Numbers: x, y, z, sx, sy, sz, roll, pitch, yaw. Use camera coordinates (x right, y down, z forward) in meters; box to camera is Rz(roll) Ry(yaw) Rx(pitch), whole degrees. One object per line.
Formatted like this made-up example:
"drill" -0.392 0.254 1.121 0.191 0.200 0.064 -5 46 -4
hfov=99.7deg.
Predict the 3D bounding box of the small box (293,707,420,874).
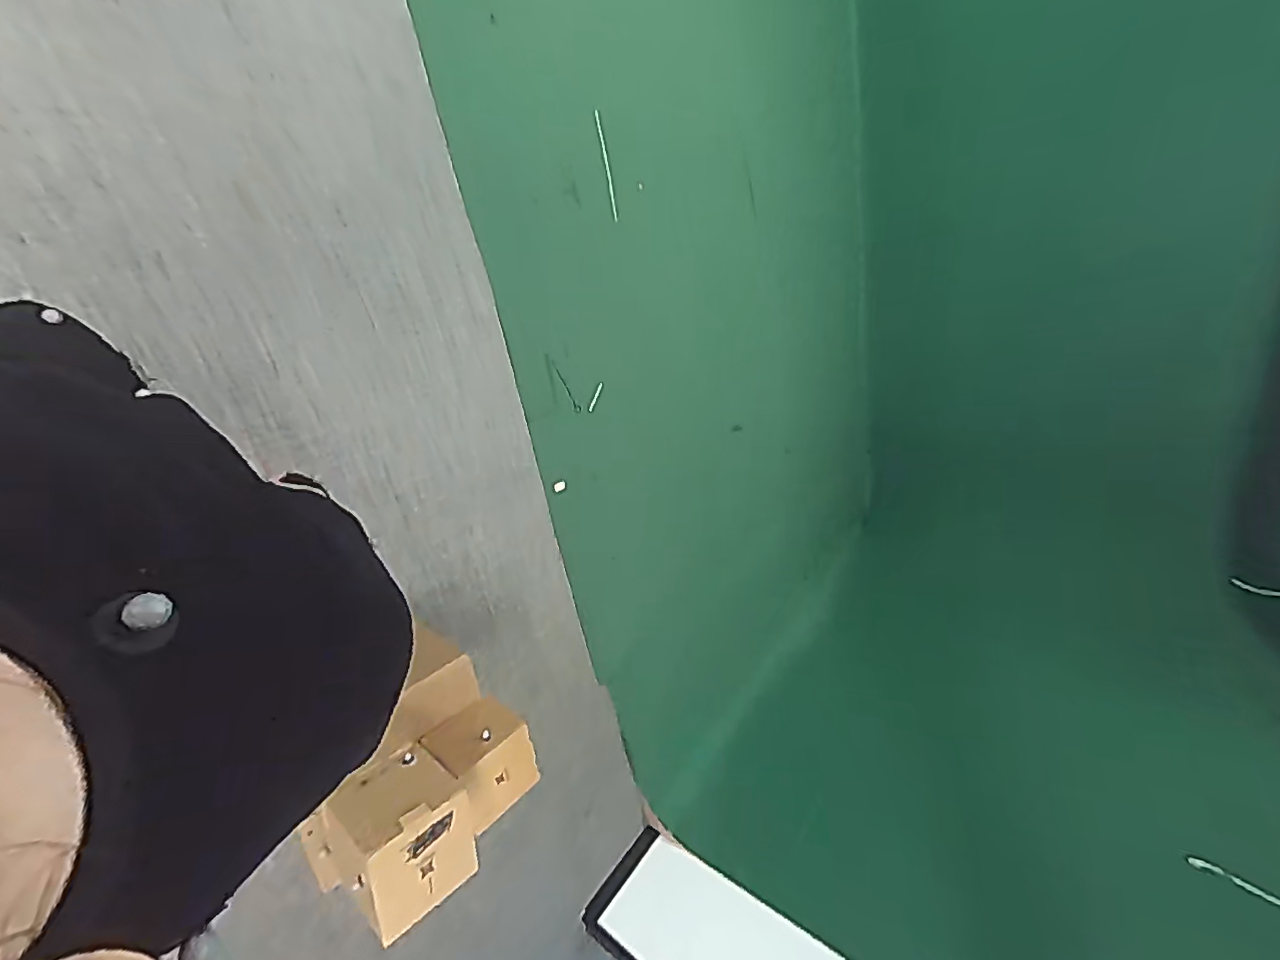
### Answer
"small box" -0.517 0.568 1.015 0.168 0.176 0.179 -23 115 -44

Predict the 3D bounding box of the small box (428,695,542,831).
"small box" -0.351 0.621 1.210 0.179 0.176 0.168 -27 116 -43

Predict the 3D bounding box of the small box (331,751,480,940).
"small box" -0.394 0.591 0.909 0.168 0.176 0.179 -18 112 -45
